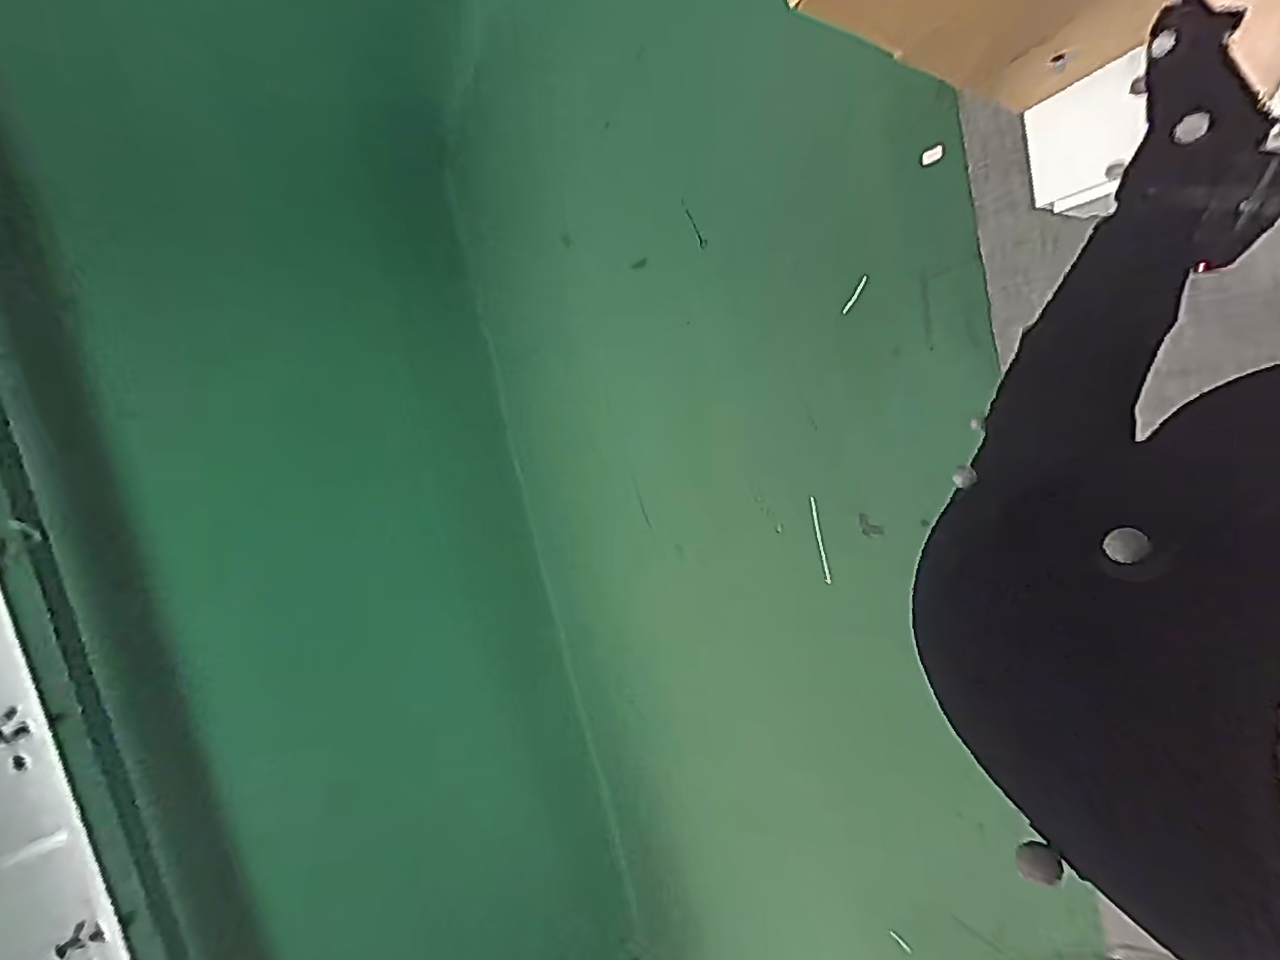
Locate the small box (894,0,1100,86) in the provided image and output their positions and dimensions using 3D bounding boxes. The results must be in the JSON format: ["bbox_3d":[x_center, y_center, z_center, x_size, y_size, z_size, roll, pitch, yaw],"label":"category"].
[{"bbox_3d":[0.348,-0.526,0.515,0.179,0.176,0.168,-14,92,55],"label":"small box"}]
